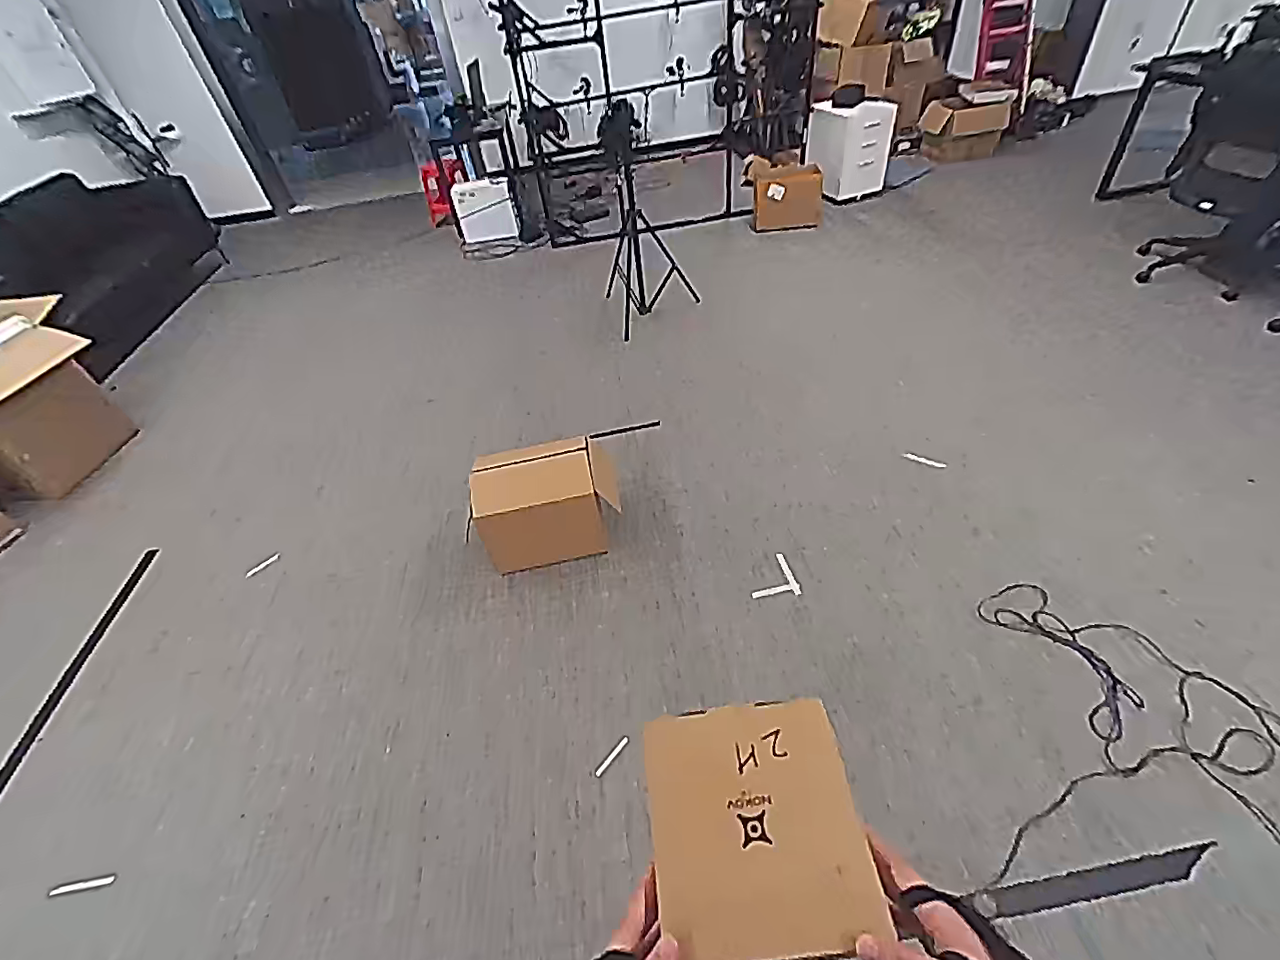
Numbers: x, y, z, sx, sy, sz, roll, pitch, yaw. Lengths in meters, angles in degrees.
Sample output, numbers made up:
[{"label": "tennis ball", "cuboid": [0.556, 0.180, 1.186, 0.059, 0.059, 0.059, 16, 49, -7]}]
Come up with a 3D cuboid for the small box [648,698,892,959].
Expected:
[{"label": "small box", "cuboid": [0.102, 0.327, 0.498, 0.168, 0.176, 0.179, -7, 45, 0]}]
